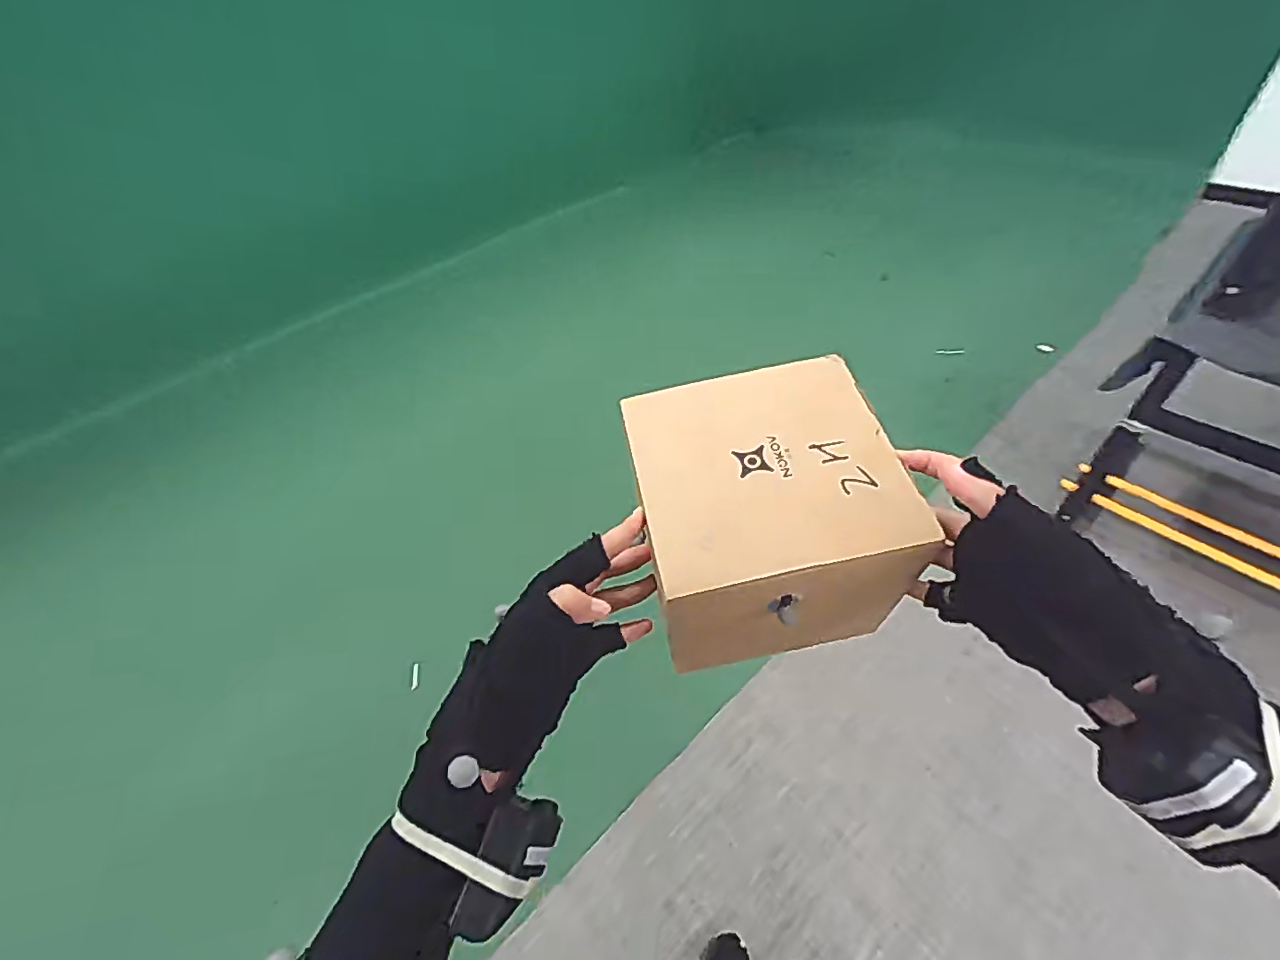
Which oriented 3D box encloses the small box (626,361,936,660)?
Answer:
[{"bbox_3d":[0.095,0.033,0.442,0.179,0.176,0.168,-11,57,-2],"label":"small box"}]
